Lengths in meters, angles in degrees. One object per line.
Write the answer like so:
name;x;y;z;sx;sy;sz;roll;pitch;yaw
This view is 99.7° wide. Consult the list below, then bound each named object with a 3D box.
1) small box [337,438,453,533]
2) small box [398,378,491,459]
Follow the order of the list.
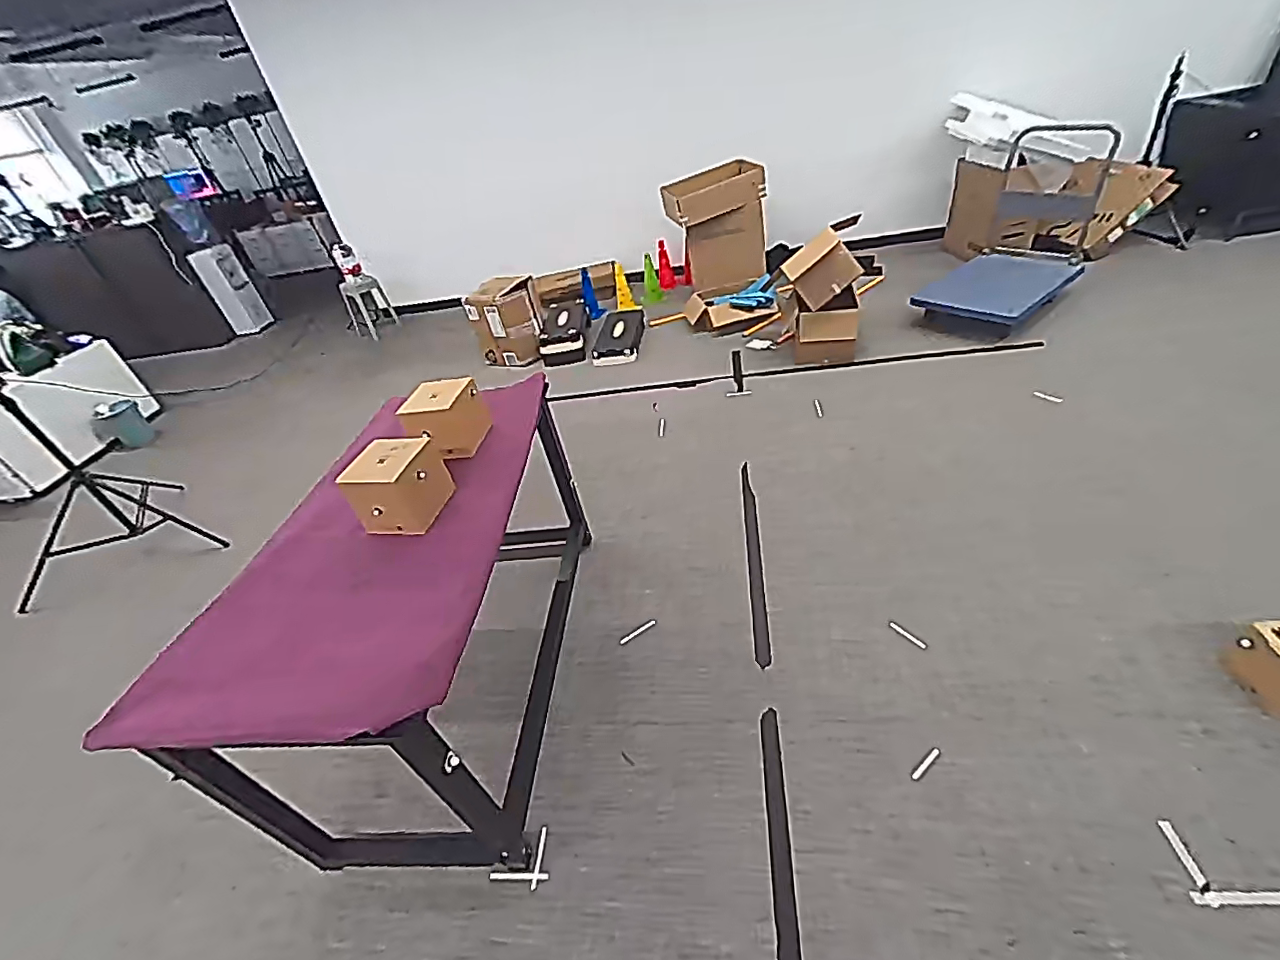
small box;-0.592;0.016;1.336;0.168;0.176;0.179;0;39;15
small box;-0.556;-0.172;1.567;0.168;0.176;0.179;-4;38;13
